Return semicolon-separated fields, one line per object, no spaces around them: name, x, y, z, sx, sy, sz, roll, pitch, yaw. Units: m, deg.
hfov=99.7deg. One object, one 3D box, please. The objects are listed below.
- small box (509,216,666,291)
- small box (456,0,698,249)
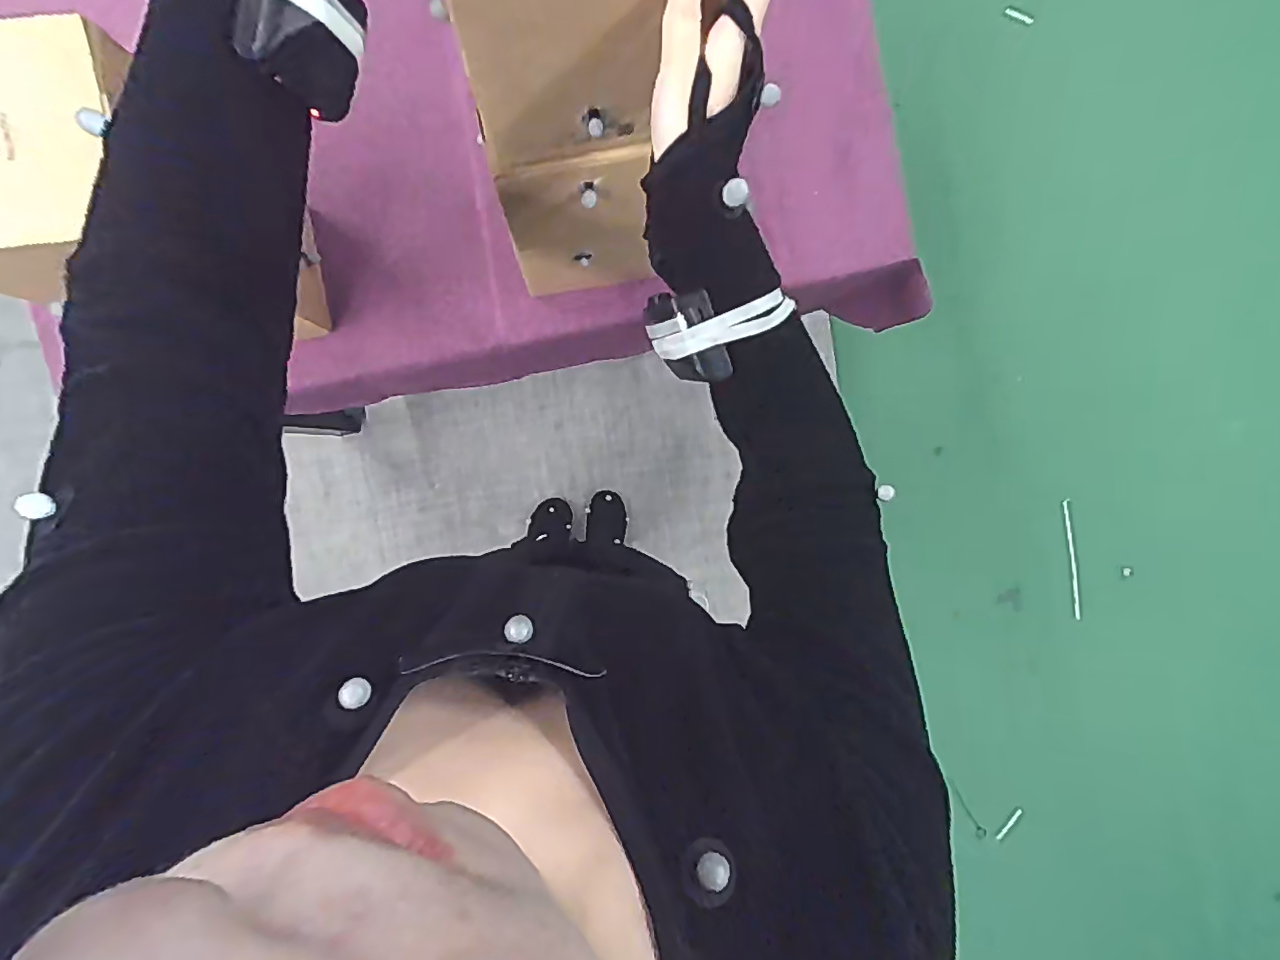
small box;-0.073;-0.351;0.680;0.179;0.176;0.168;-11;94;-4
small box;-0.056;-0.343;0.518;0.179;0.176;0.168;-12;94;-3
